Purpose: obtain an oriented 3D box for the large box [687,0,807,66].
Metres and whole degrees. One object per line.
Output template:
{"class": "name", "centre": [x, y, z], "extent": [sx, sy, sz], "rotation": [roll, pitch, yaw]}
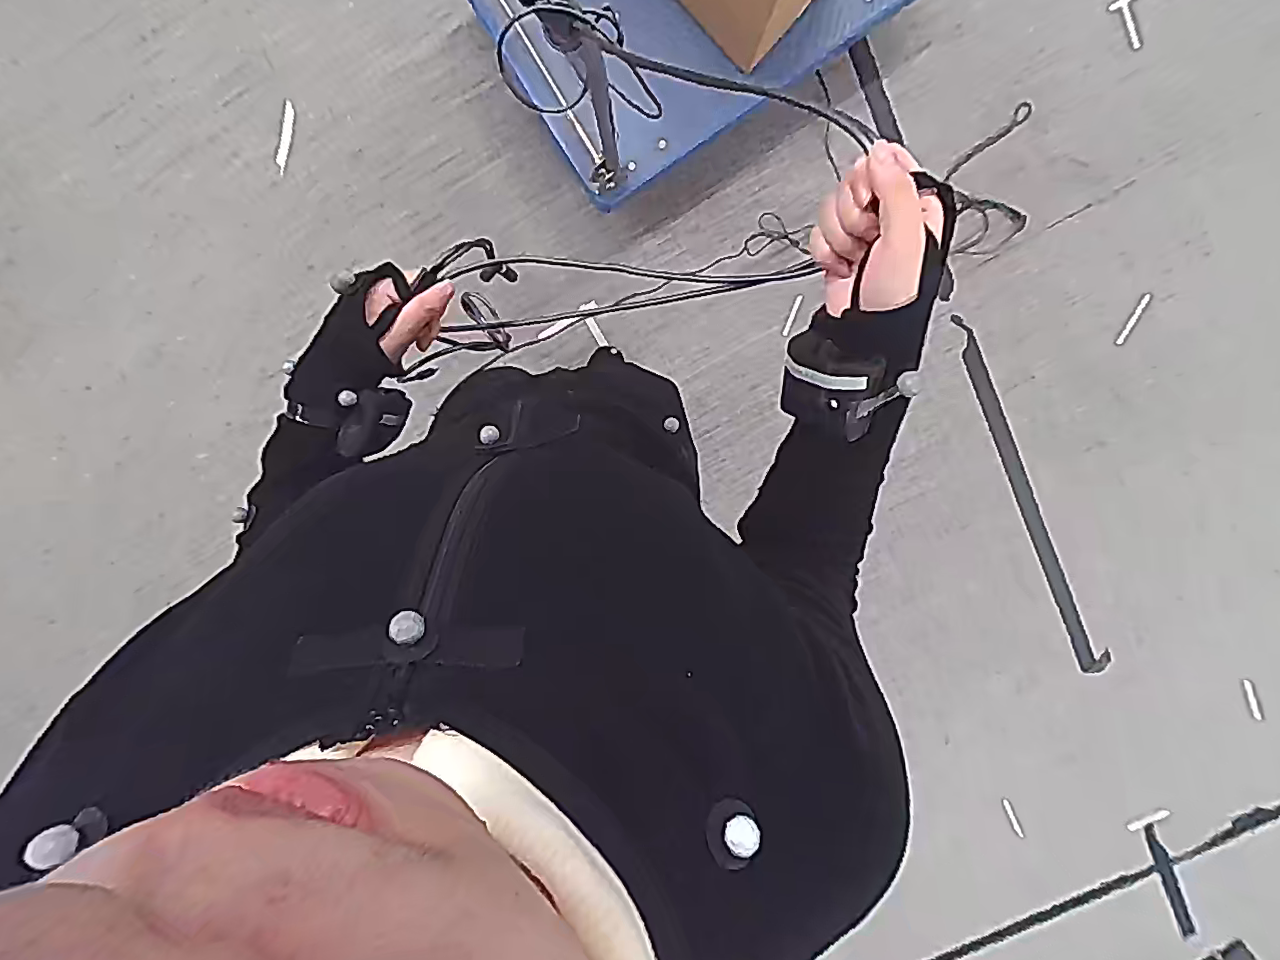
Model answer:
{"class": "large box", "centre": [0.185, -1.057, 0.923], "extent": [0.408, 0.320, 0.320], "rotation": [42, 100, -10]}
